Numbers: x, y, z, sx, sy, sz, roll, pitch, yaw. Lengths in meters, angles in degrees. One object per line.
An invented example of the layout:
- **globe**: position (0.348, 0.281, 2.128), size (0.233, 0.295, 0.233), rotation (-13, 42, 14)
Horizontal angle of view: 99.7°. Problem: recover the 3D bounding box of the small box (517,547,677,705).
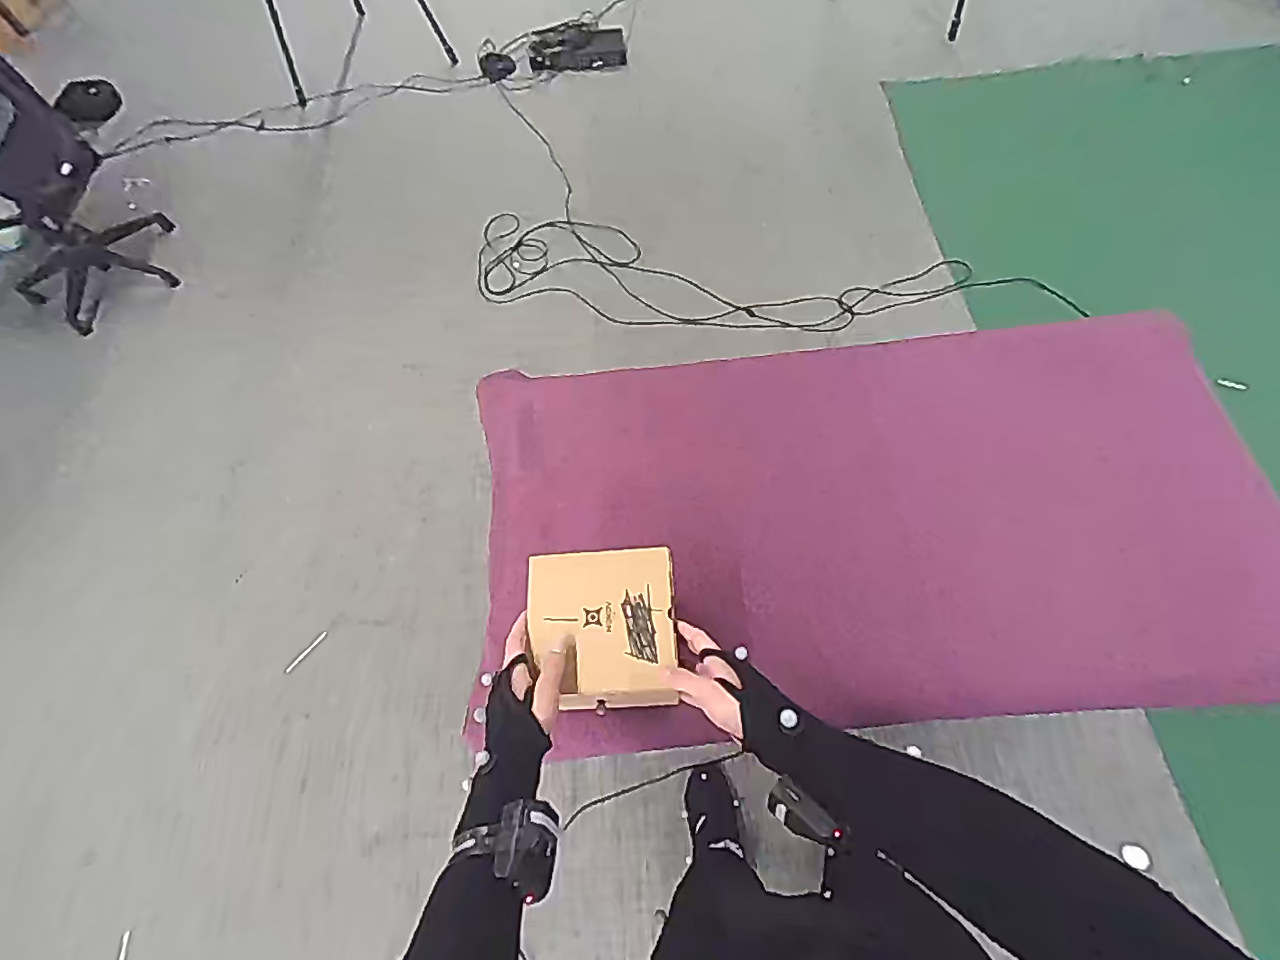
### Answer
- **small box**: position (-0.046, 0.192, 0.692), size (0.179, 0.176, 0.168), rotation (-3, 62, 2)
